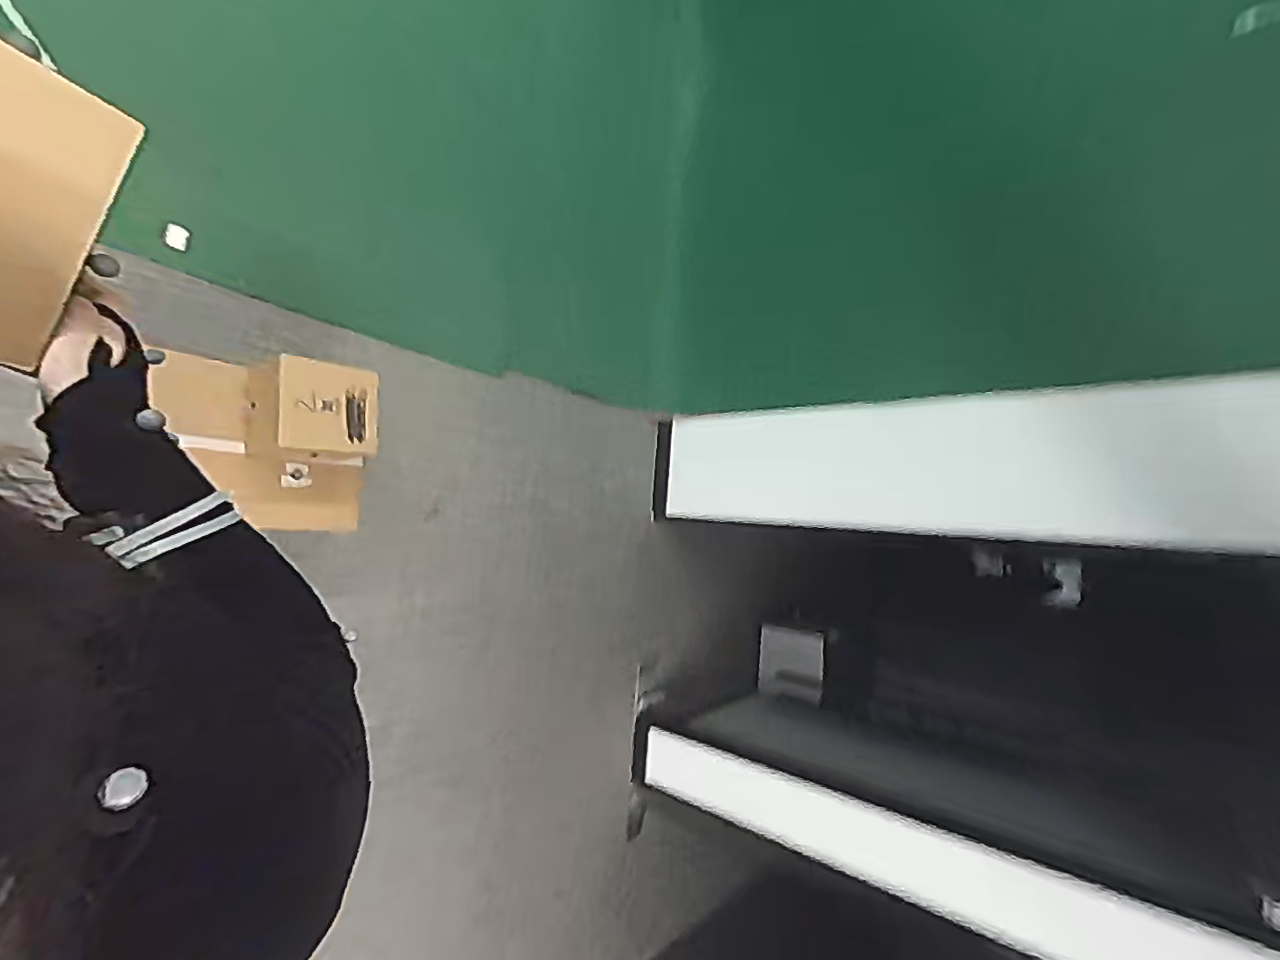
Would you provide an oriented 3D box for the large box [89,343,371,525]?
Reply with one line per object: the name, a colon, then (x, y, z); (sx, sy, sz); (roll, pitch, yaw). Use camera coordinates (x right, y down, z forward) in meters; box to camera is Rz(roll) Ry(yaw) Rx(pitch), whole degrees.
large box: (-0.864, -0.068, 1.162); (0.408, 0.320, 0.320); (10, 83, -53)
